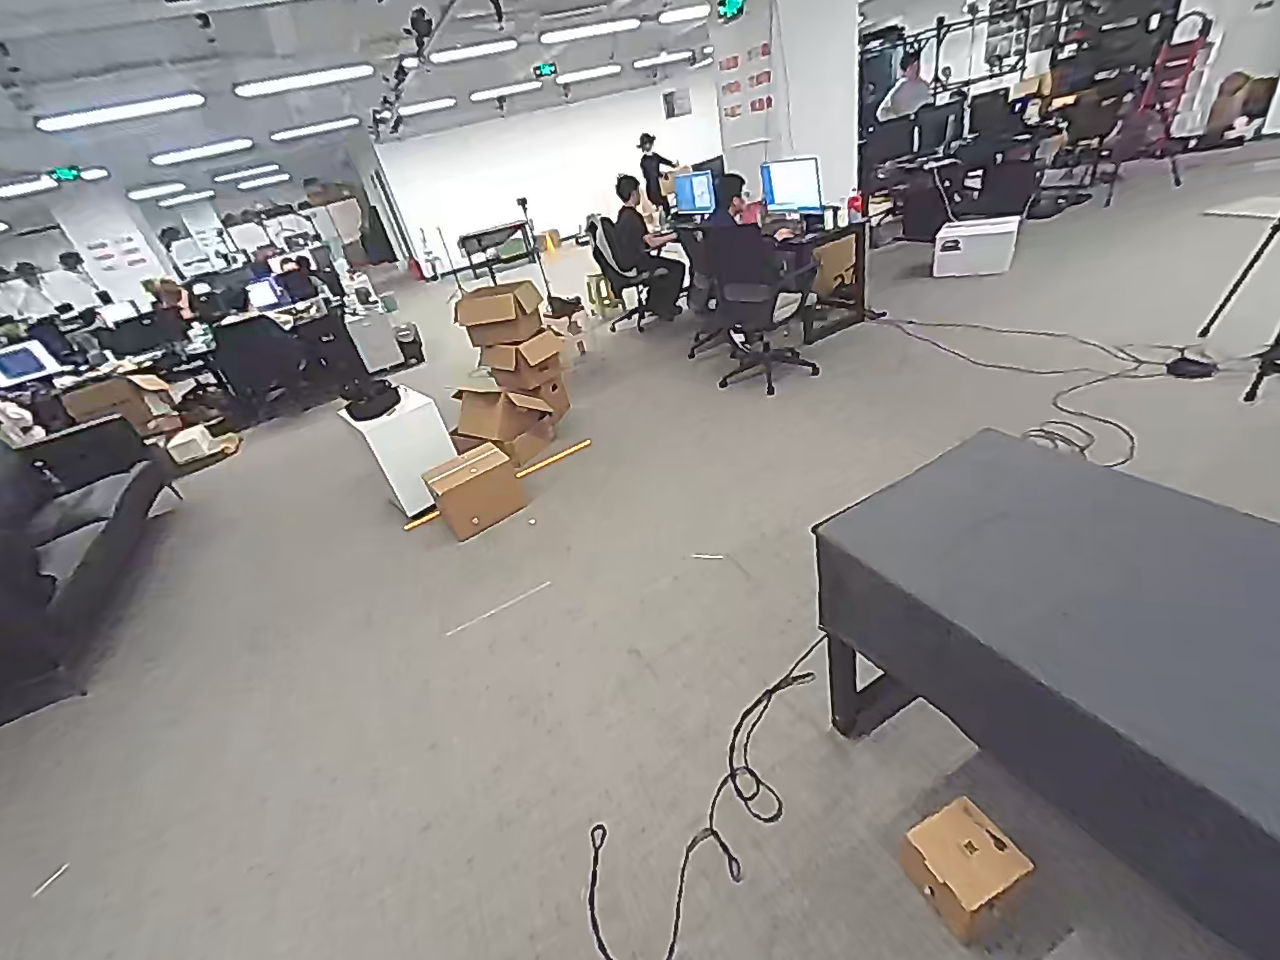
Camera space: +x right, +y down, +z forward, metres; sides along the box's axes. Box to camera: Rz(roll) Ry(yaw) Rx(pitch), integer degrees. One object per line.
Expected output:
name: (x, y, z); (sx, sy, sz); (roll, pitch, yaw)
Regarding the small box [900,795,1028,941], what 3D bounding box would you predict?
small box: (0.691, 0.838, 1.169); (0.179, 0.176, 0.168); (-22, 31, -13)
